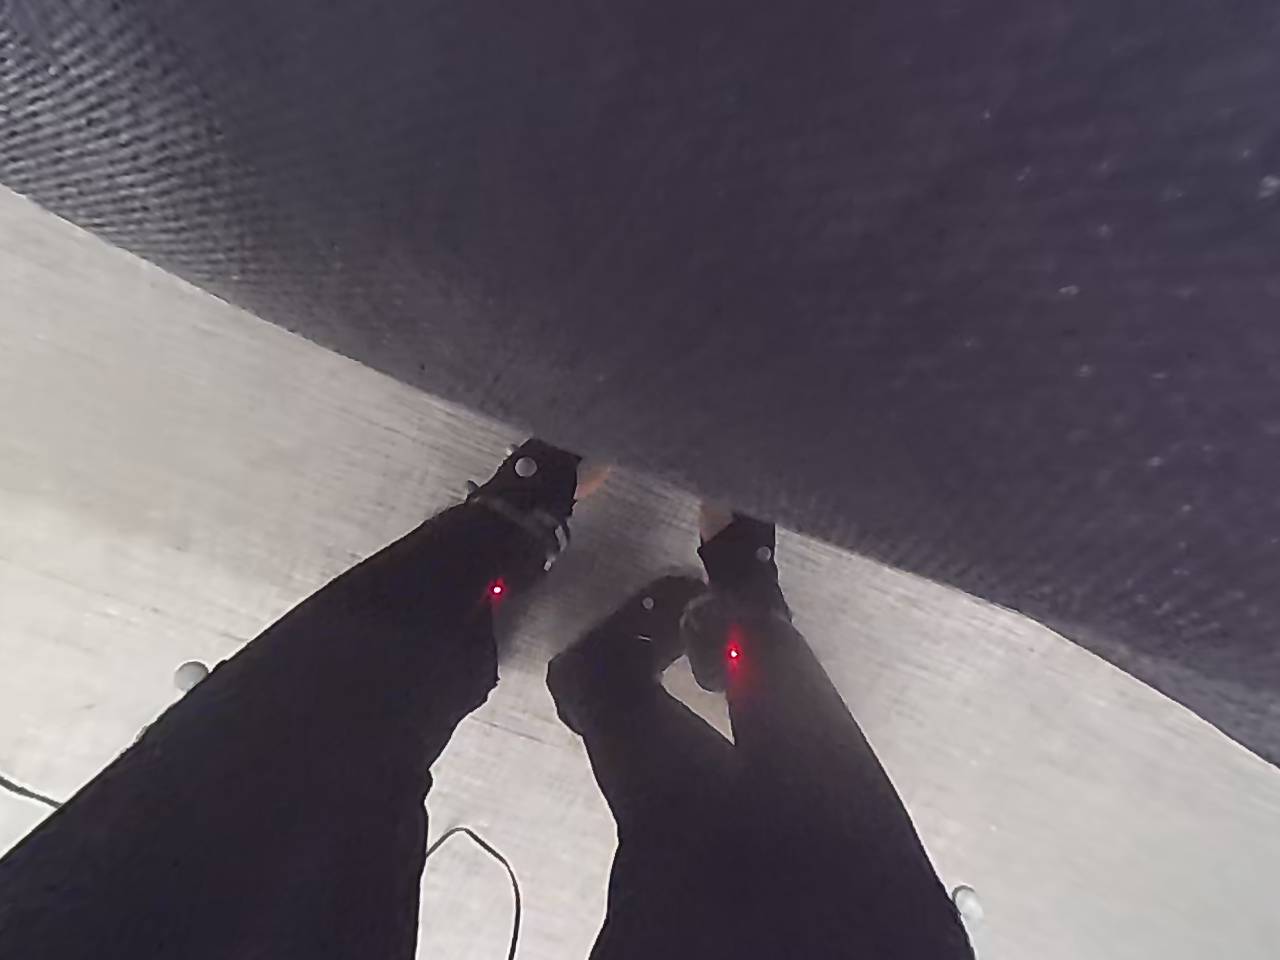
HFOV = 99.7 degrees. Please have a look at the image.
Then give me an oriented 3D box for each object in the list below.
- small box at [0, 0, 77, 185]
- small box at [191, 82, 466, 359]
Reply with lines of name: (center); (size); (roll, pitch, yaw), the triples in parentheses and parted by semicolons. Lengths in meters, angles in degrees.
small box: (-0.676, -0.402, 0.490); (0.168, 0.176, 0.179); (21, 107, -8)
small box: (-0.299, -0.246, 0.558); (0.168, 0.176, 0.179); (26, 104, -12)
